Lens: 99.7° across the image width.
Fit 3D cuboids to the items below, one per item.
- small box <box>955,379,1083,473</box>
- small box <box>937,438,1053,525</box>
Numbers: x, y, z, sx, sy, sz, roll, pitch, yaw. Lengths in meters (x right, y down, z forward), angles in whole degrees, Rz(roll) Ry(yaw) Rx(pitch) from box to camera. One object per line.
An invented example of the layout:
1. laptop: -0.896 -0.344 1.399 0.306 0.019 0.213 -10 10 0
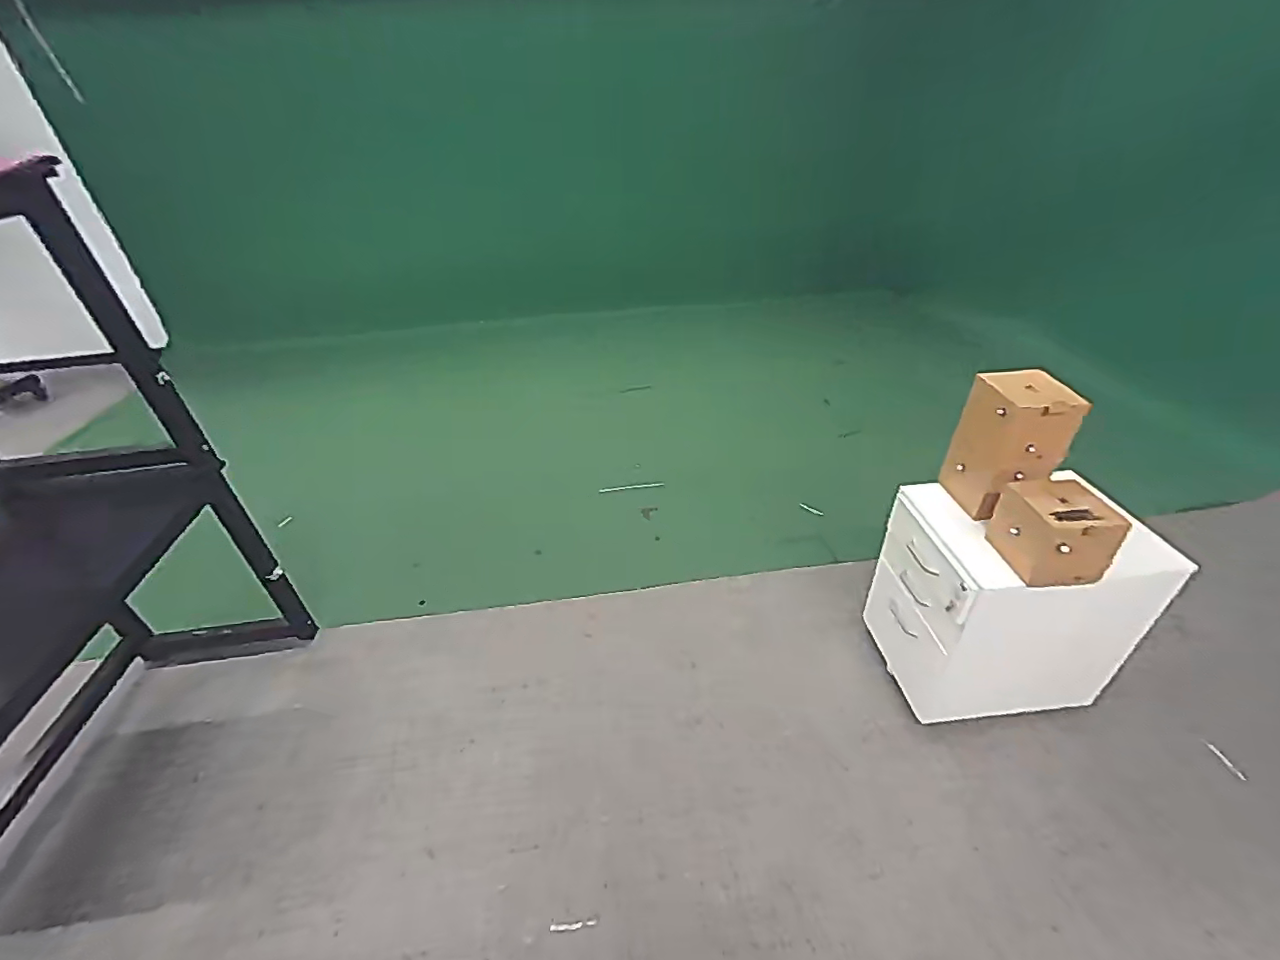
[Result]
1. small box: 0.920 -0.134 1.335 0.168 0.176 0.179 -4 38 -2
2. small box: 0.923 -0.001 1.430 0.168 0.176 0.179 -5 36 -3
